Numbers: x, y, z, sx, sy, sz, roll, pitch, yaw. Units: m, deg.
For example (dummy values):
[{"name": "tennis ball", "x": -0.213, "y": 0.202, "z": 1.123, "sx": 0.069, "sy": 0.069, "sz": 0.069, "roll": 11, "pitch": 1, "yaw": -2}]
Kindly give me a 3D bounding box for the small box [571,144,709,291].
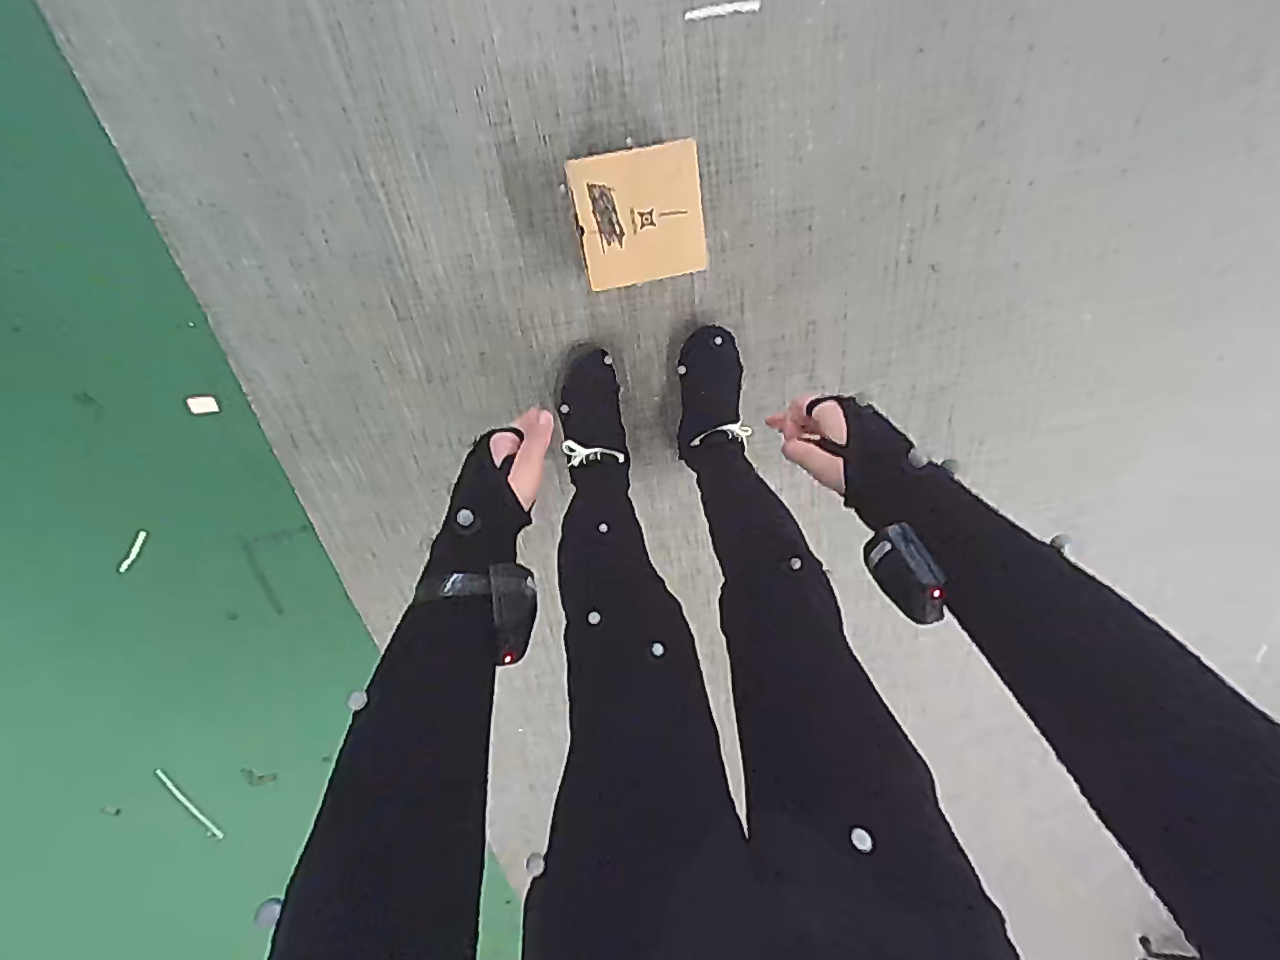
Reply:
[{"name": "small box", "x": -0.005, "y": -0.395, "z": 0.817, "sx": 0.179, "sy": 0.176, "sz": 0.168, "roll": -12, "pitch": 120, "yaw": -3}]
